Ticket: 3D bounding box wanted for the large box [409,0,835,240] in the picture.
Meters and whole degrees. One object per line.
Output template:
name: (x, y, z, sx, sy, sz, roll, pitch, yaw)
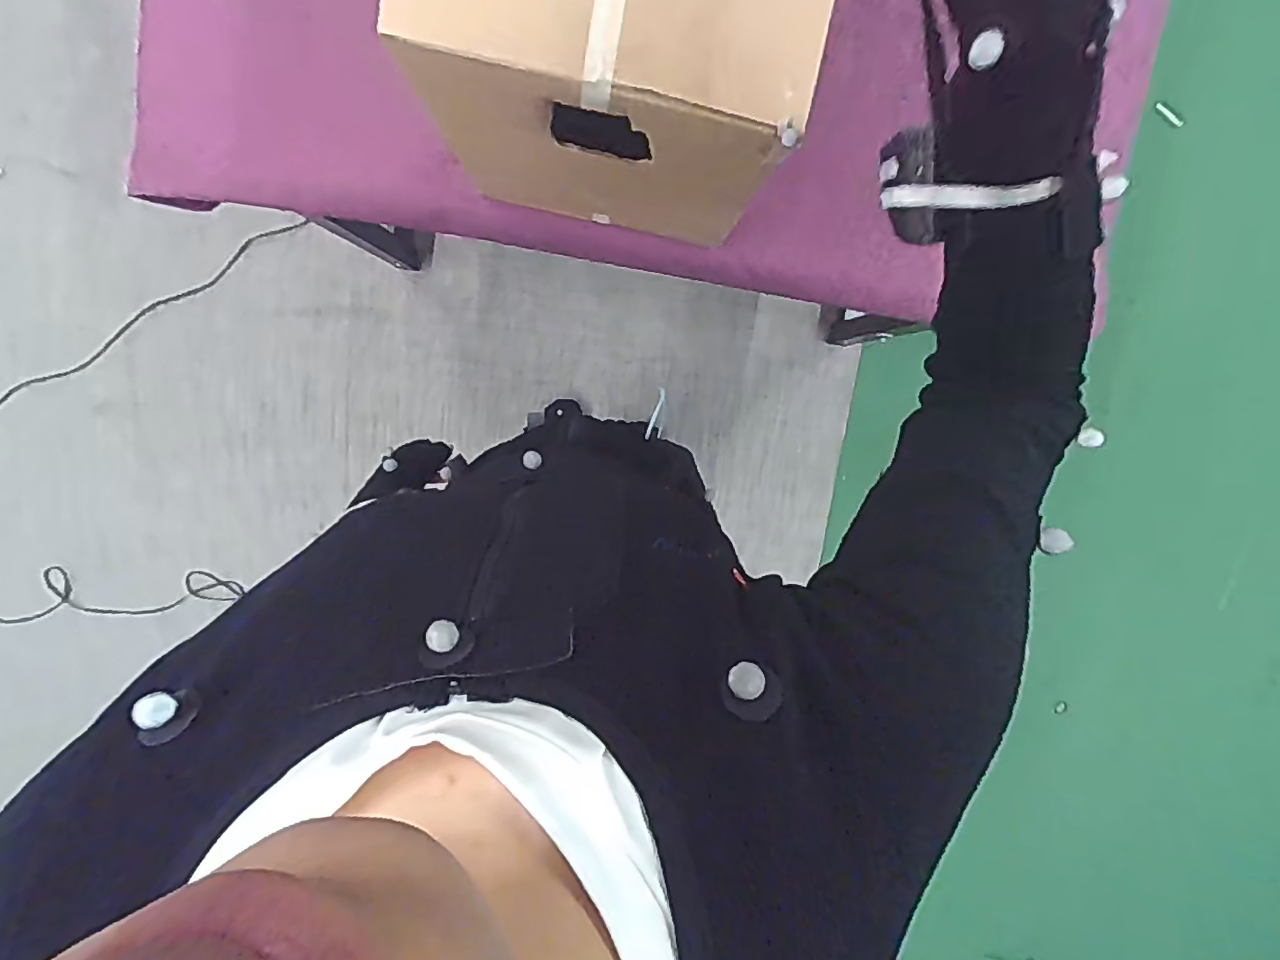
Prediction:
large box: (0.005, -0.508, 0.524, 0.320, 0.320, 0.408, 11, 99, -5)
